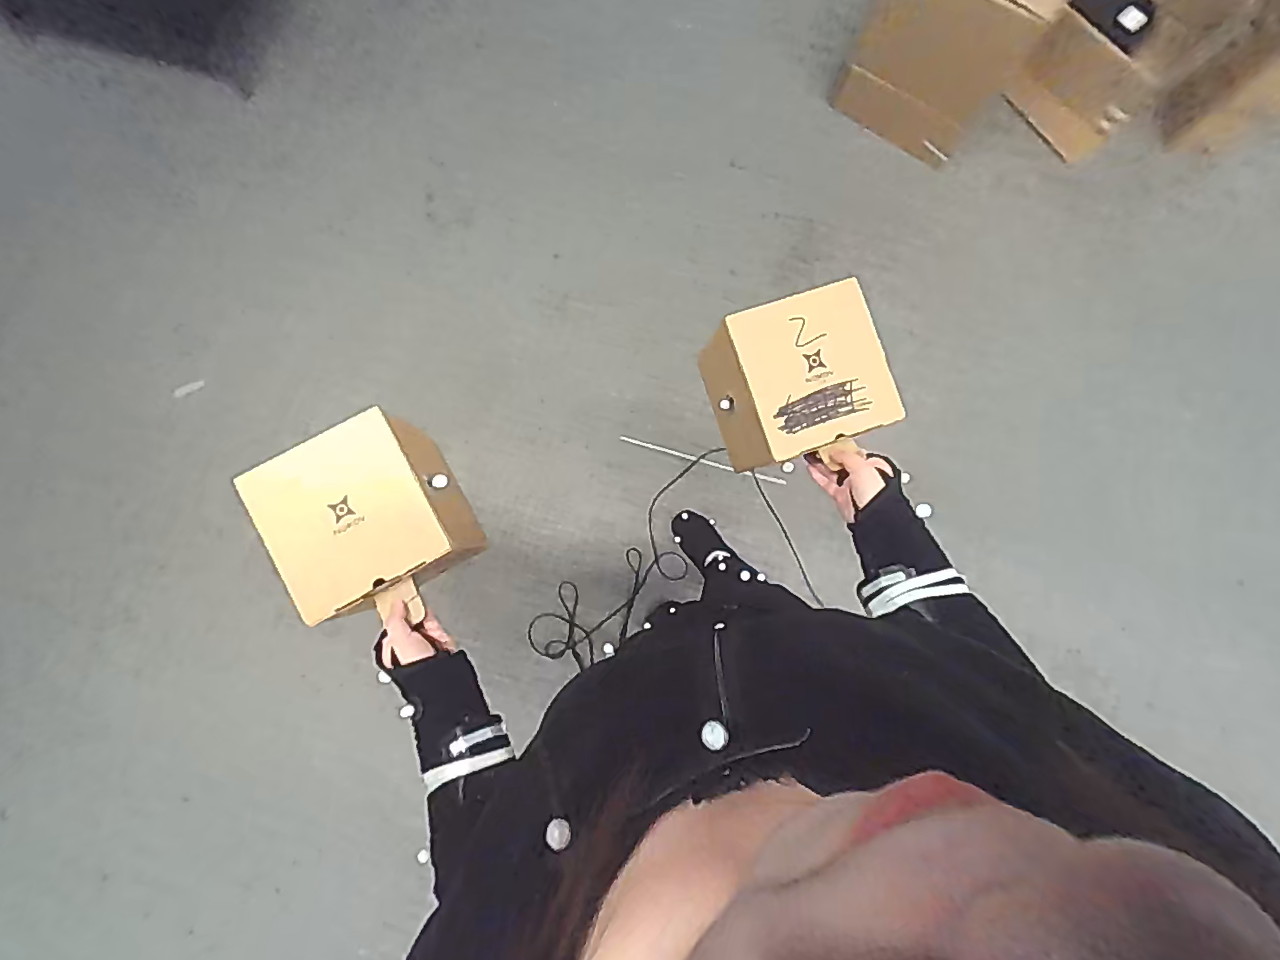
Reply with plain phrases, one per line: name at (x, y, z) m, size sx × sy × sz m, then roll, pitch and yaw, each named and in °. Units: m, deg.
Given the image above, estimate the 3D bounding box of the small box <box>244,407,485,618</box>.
small box at (-0.310, 0.041, 0.646) m, size 0.168 × 0.176 × 0.179 m, roll -28°, pitch 86°, yaw -5°
